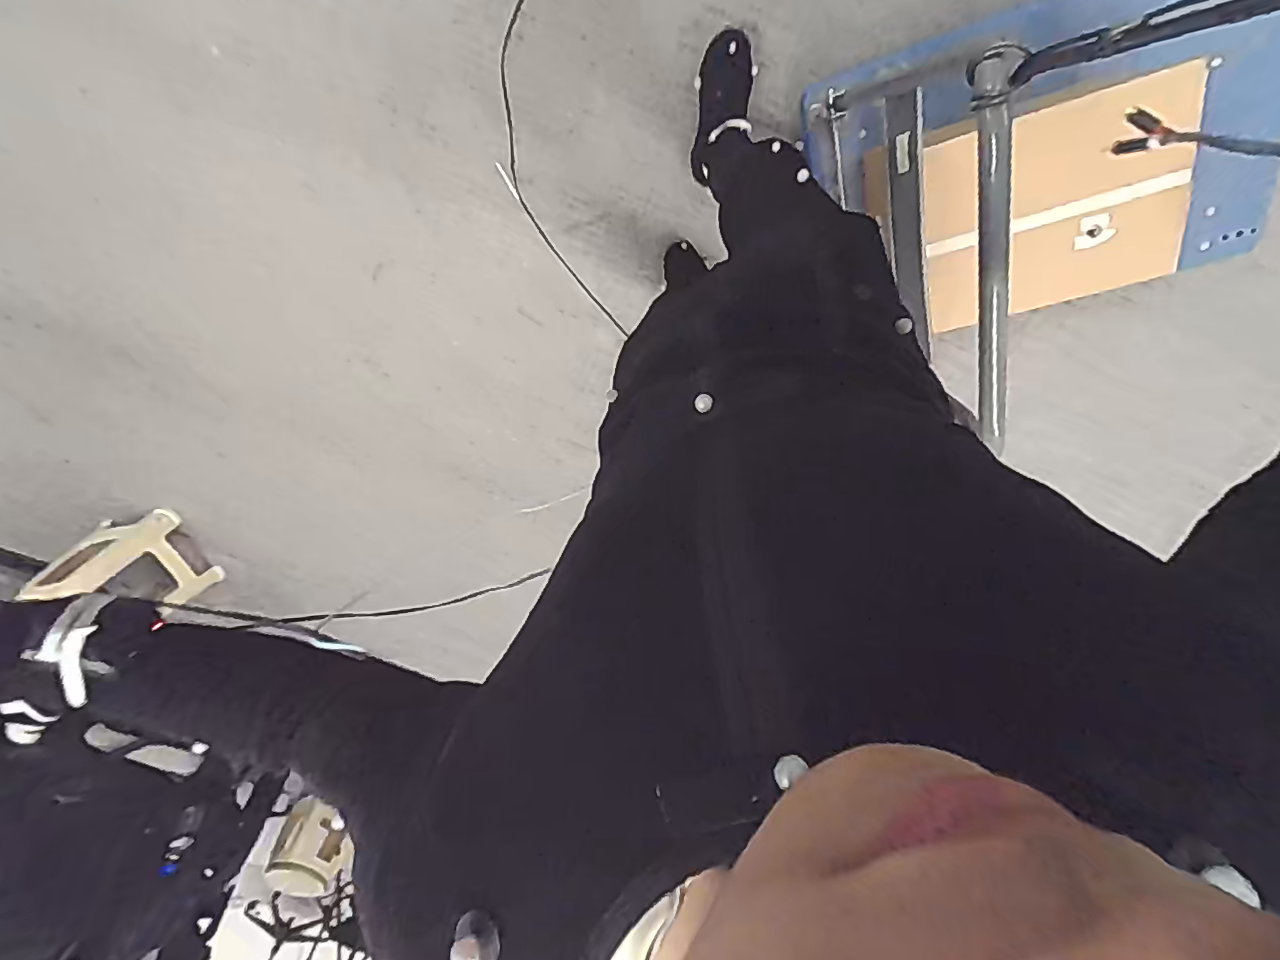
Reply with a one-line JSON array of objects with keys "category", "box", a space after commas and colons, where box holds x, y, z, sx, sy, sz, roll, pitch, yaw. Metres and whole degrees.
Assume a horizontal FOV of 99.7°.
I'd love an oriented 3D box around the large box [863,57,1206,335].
[{"category": "large box", "box": [0.681, -0.511, 1.015, 0.408, 0.320, 0.320, -13, 119, 12]}]
